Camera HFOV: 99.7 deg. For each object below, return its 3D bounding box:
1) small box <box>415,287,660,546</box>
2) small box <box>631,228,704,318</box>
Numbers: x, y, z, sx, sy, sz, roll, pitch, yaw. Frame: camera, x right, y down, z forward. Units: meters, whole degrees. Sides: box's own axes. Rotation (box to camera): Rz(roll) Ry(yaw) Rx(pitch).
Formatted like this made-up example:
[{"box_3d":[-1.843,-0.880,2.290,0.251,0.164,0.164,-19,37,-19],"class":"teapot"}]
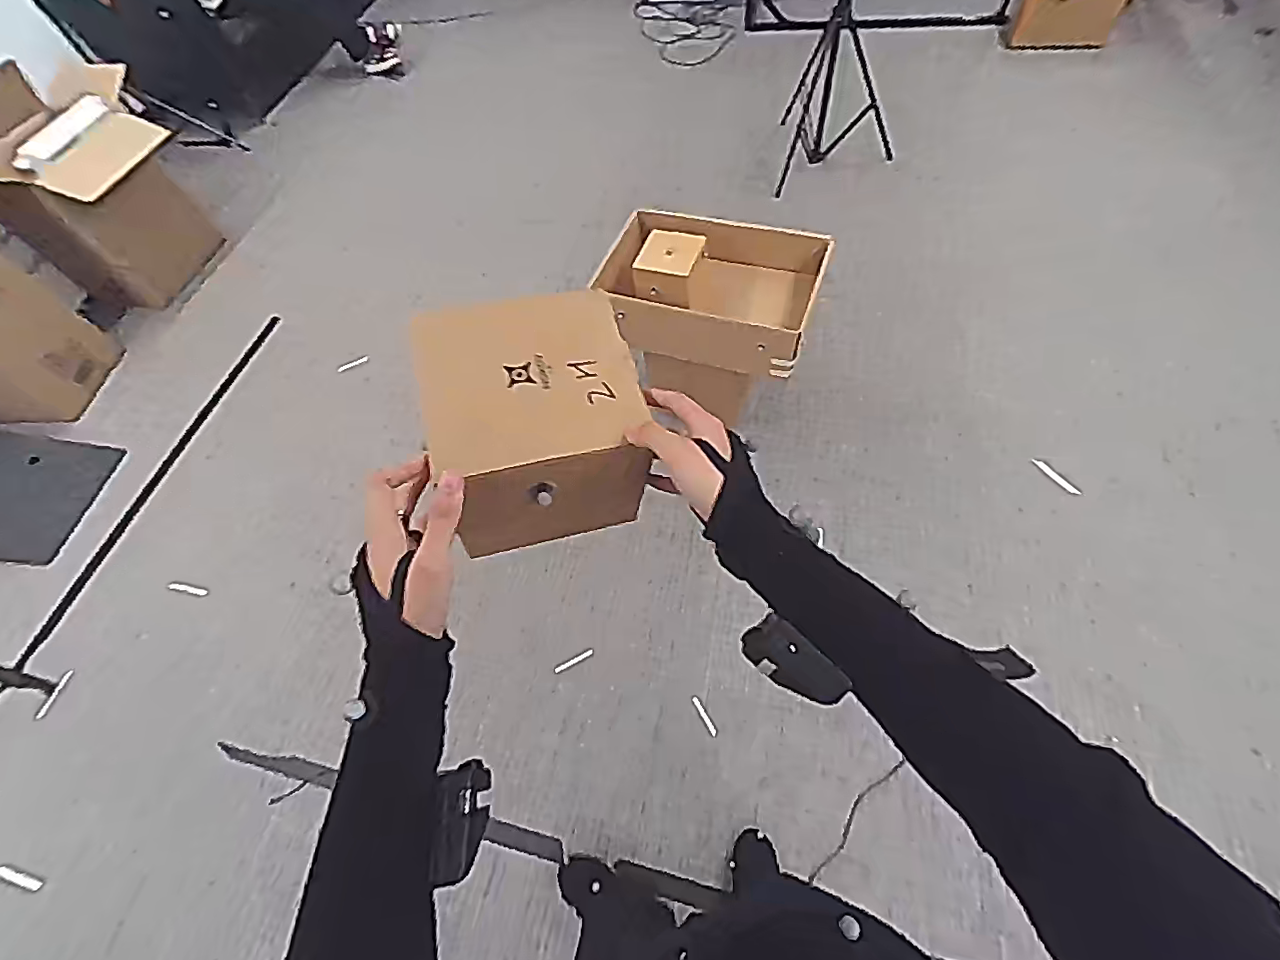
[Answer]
[{"box_3d":[-0.094,-0.051,0.510,0.179,0.176,0.168,-11,66,-13],"class":"small box"},{"box_3d":[0.089,-0.604,1.587,0.168,0.176,0.179,15,62,15],"class":"small box"}]
